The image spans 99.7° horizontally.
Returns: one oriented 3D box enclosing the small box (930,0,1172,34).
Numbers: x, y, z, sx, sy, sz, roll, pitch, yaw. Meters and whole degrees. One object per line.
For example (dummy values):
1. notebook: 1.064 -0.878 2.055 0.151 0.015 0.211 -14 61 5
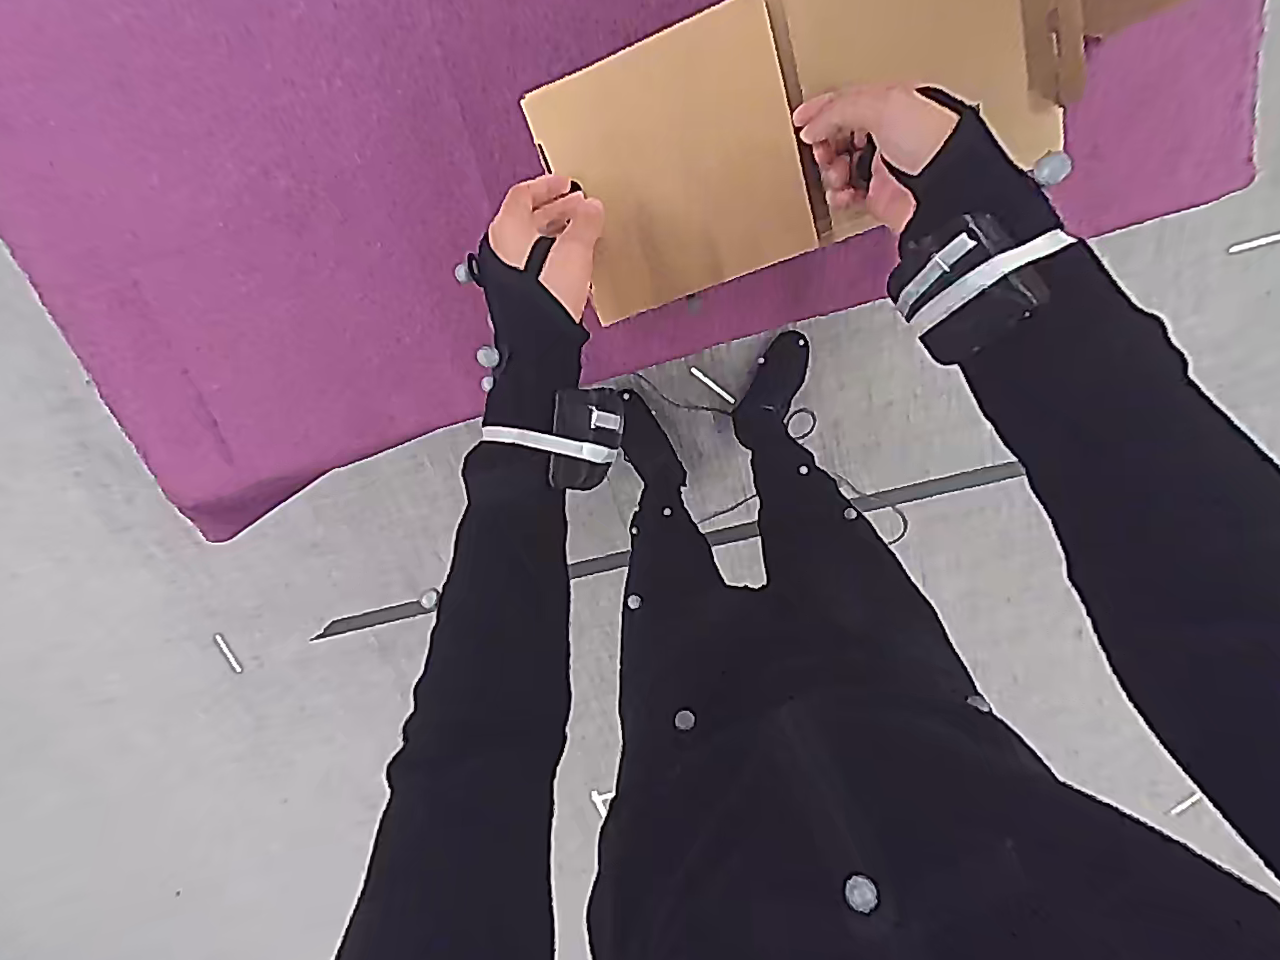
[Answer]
1. small box: 0.347 -0.456 0.382 0.179 0.176 0.168 9 110 -3
